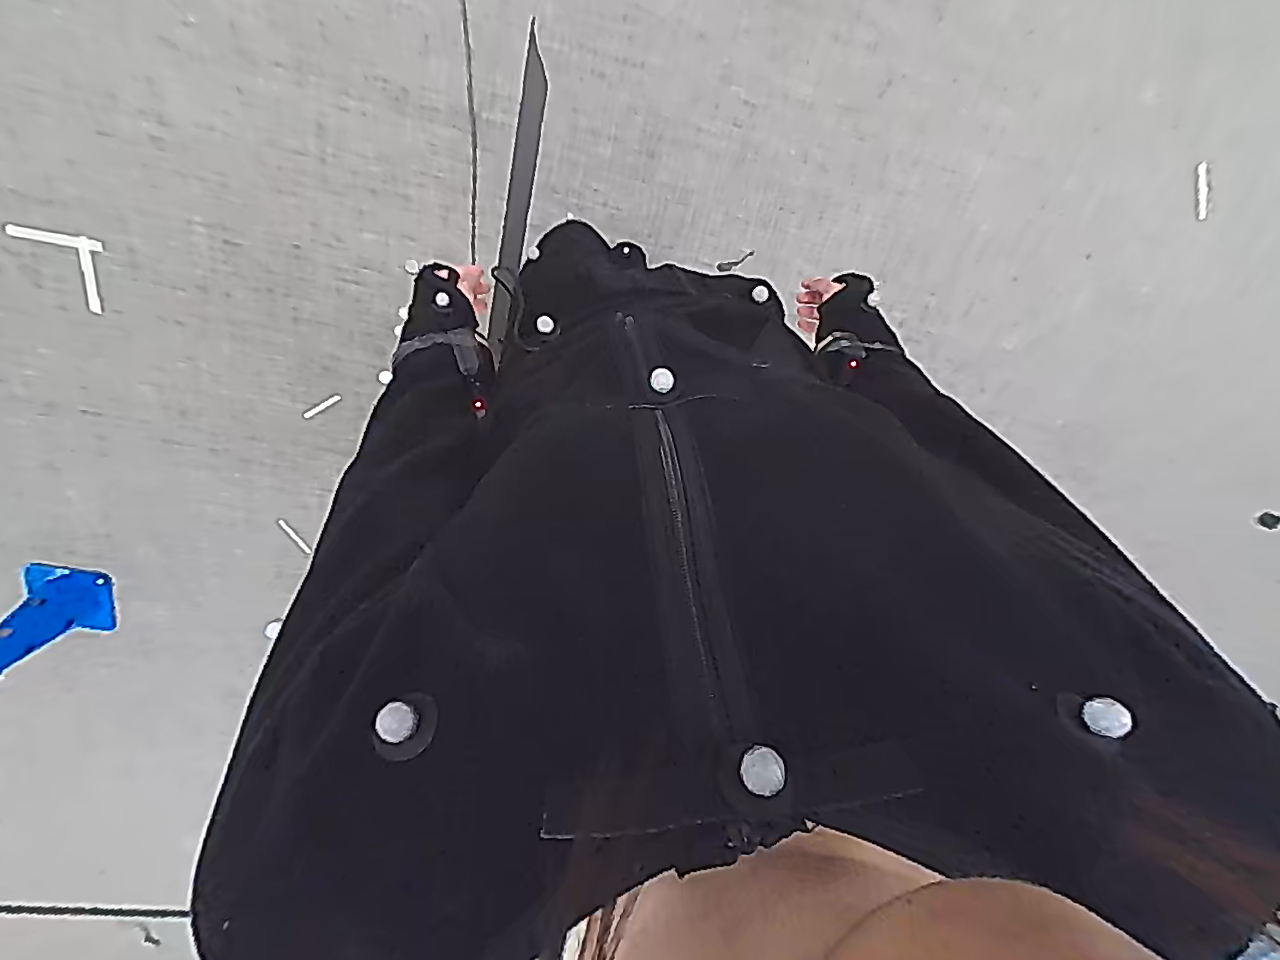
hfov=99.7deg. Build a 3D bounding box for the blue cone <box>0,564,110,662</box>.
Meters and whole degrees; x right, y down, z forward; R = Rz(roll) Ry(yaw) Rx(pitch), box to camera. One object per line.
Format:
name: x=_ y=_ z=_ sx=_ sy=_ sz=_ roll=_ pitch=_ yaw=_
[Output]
blue cone: x=-1.533 y=0.386 z=1.319 sx=0.193 sy=0.380 sz=0.192 roll=14 pitch=112 yaw=-13
